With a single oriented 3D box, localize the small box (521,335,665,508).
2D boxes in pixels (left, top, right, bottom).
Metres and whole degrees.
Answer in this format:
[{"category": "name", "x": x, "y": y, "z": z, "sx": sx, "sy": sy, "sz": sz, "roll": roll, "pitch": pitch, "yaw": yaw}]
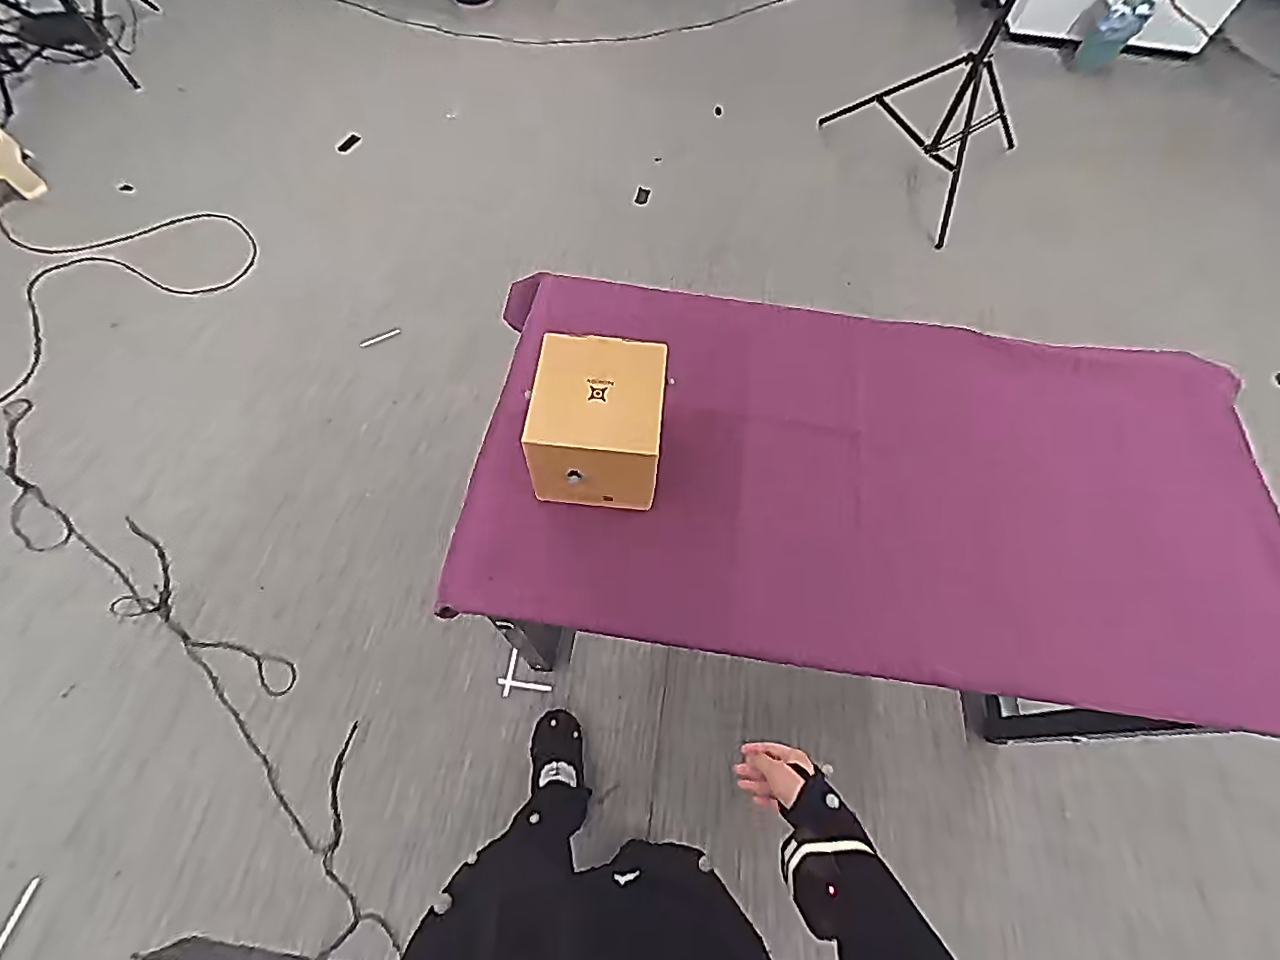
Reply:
[{"category": "small box", "x": -0.057, "y": -0.074, "z": 0.752, "sx": 0.168, "sy": 0.176, "sz": 0.179, "roll": 5, "pitch": 62, "yaw": 0}]
